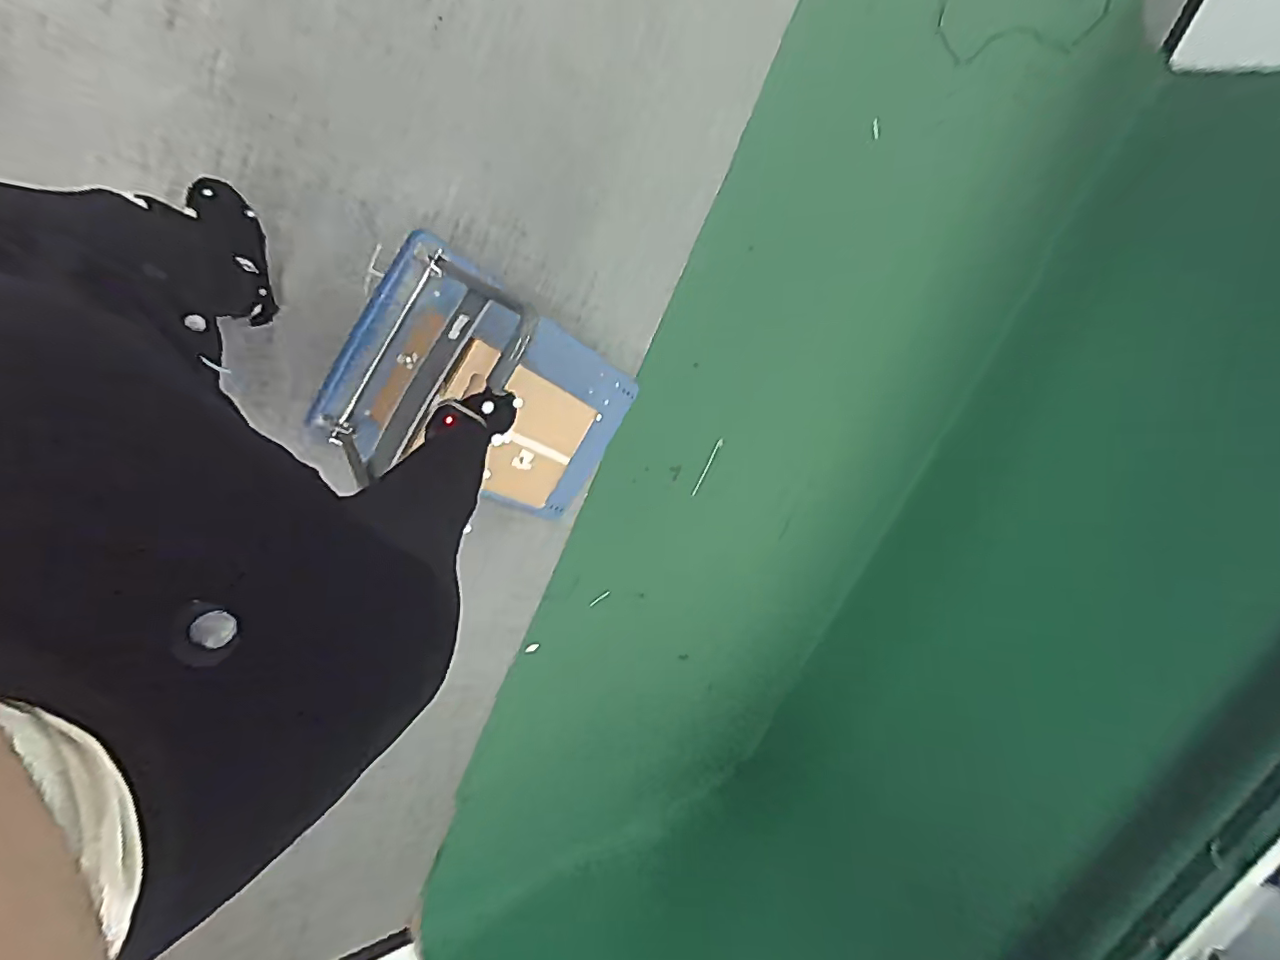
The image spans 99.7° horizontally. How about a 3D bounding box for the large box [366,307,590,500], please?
[{"bbox_3d":[-0.422,-0.192,1.415,0.408,0.320,0.320,26,98,-48],"label":"large box"}]
